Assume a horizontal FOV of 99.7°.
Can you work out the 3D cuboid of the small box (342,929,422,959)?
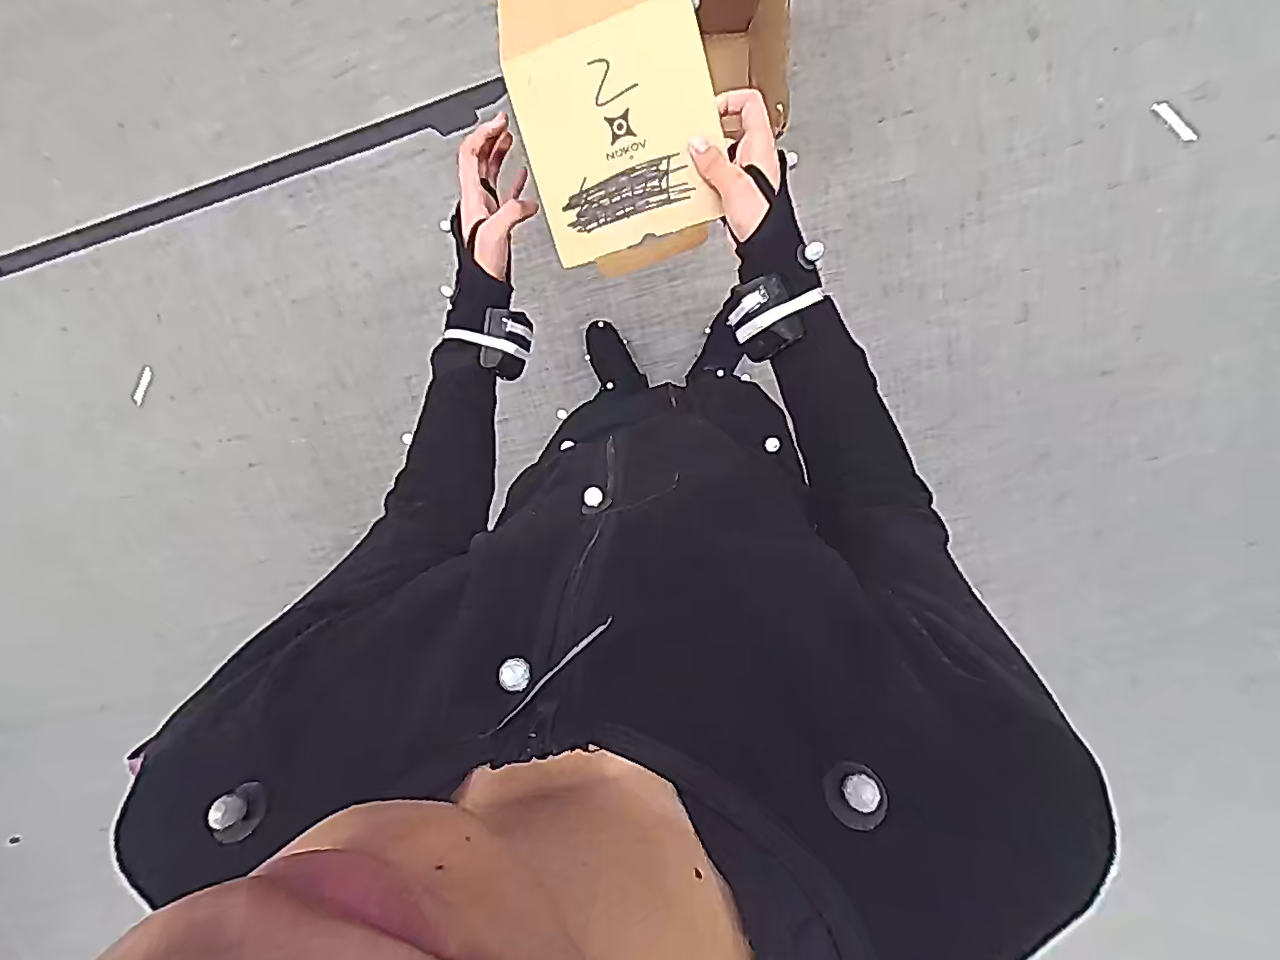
[{"bbox_3d":[-0.647,1.226,1.295,0.179,0.176,0.168,-26,105,12],"label":"small box"}]
